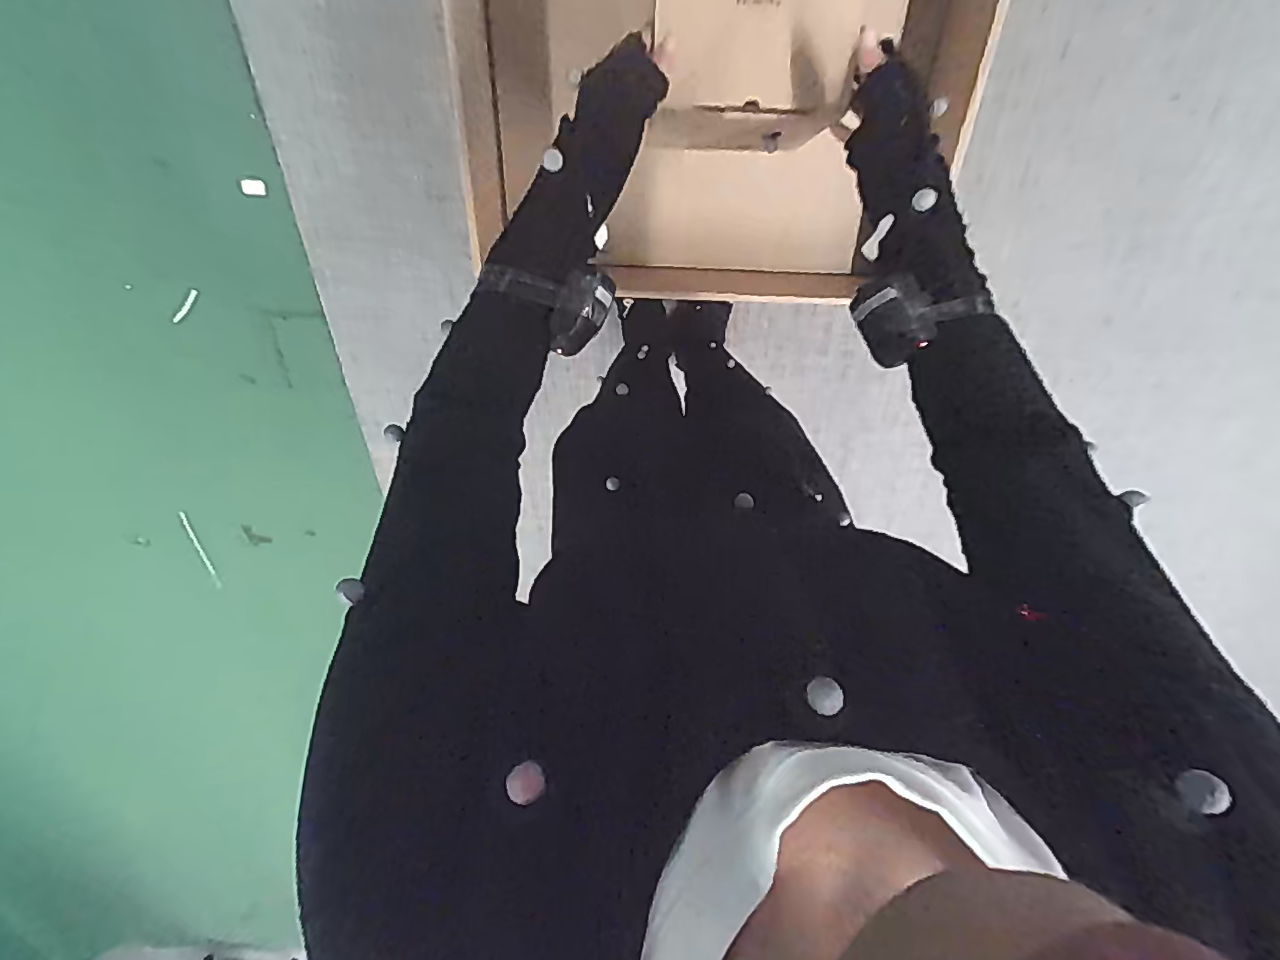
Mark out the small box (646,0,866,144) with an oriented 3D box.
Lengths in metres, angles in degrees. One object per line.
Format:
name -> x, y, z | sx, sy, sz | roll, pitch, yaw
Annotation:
small box -> 0.092, -0.416, 0.482 | 0.168, 0.176, 0.179 | 0, 111, -2
